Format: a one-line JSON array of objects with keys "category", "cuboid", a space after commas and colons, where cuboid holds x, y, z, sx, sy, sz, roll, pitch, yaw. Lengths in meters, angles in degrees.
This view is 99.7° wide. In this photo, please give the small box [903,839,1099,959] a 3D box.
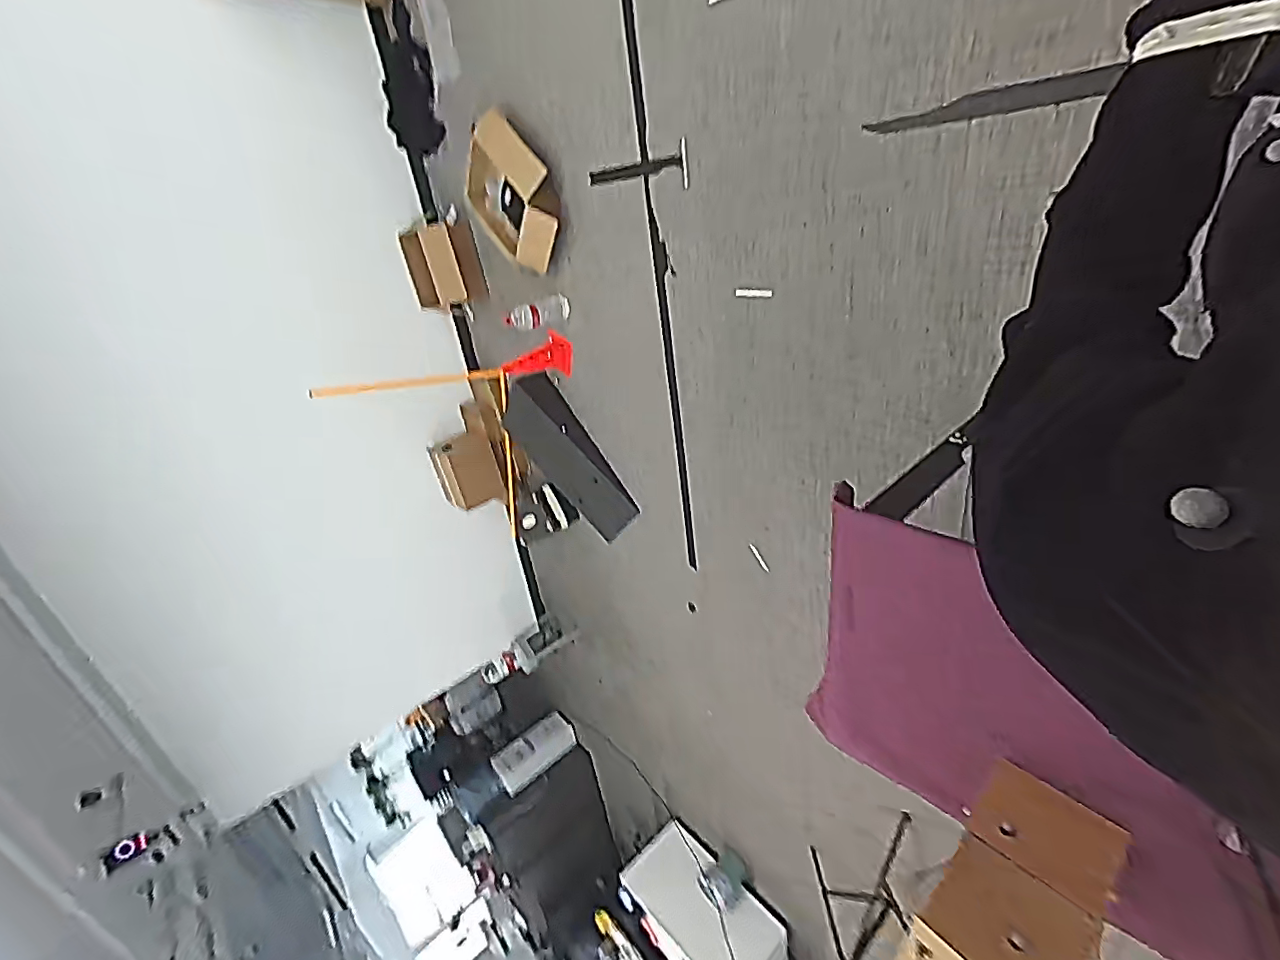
[{"category": "small box", "cuboid": [0.502, 0.666, 0.762, 0.179, 0.176, 0.168, 26, 131, 41]}]

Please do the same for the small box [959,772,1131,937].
[{"category": "small box", "cuboid": [0.623, 0.602, 0.853, 0.179, 0.176, 0.168, 25, 131, 42]}]
